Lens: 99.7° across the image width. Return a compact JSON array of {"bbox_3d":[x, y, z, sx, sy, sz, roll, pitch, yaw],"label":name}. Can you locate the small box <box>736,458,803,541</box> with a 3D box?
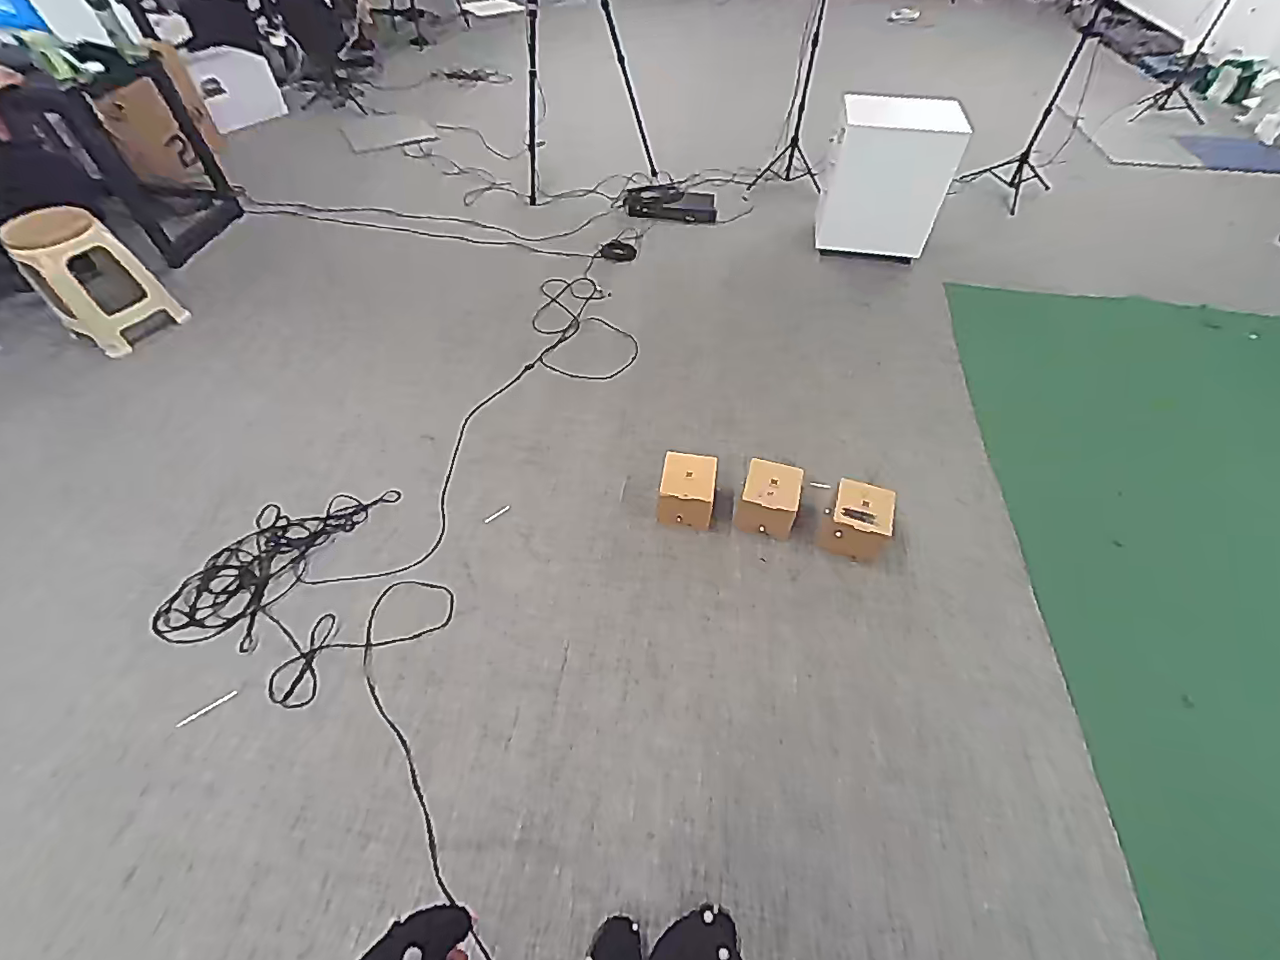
[{"bbox_3d":[0.407,0.062,1.712,0.168,0.176,0.179,14,53,11],"label":"small box"}]

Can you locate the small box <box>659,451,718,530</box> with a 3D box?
[{"bbox_3d":[0.152,0.036,1.734,0.168,0.176,0.179,8,52,6],"label":"small box"}]
